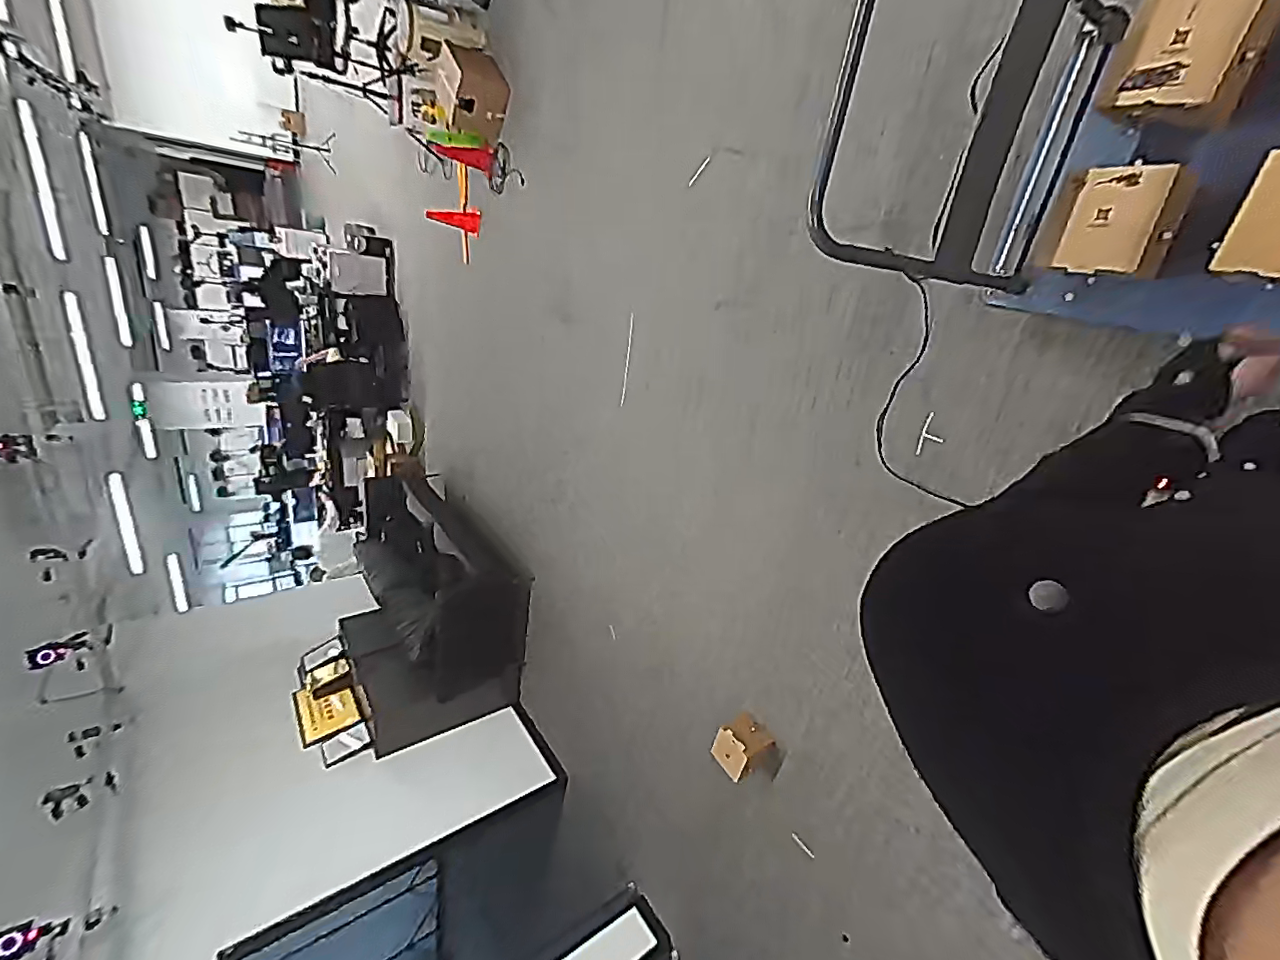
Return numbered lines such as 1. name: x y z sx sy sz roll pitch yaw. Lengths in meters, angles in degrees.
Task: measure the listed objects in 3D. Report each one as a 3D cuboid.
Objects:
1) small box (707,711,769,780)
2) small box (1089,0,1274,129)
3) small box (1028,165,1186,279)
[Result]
1. small box: 0.419 1.126 2.299 0.168 0.176 0.179 44 128 36
2. small box: 0.943 -0.730 0.942 0.168 0.176 0.179 37 124 43
3. small box: 0.901 -0.491 1.044 0.168 0.176 0.179 32 121 46
